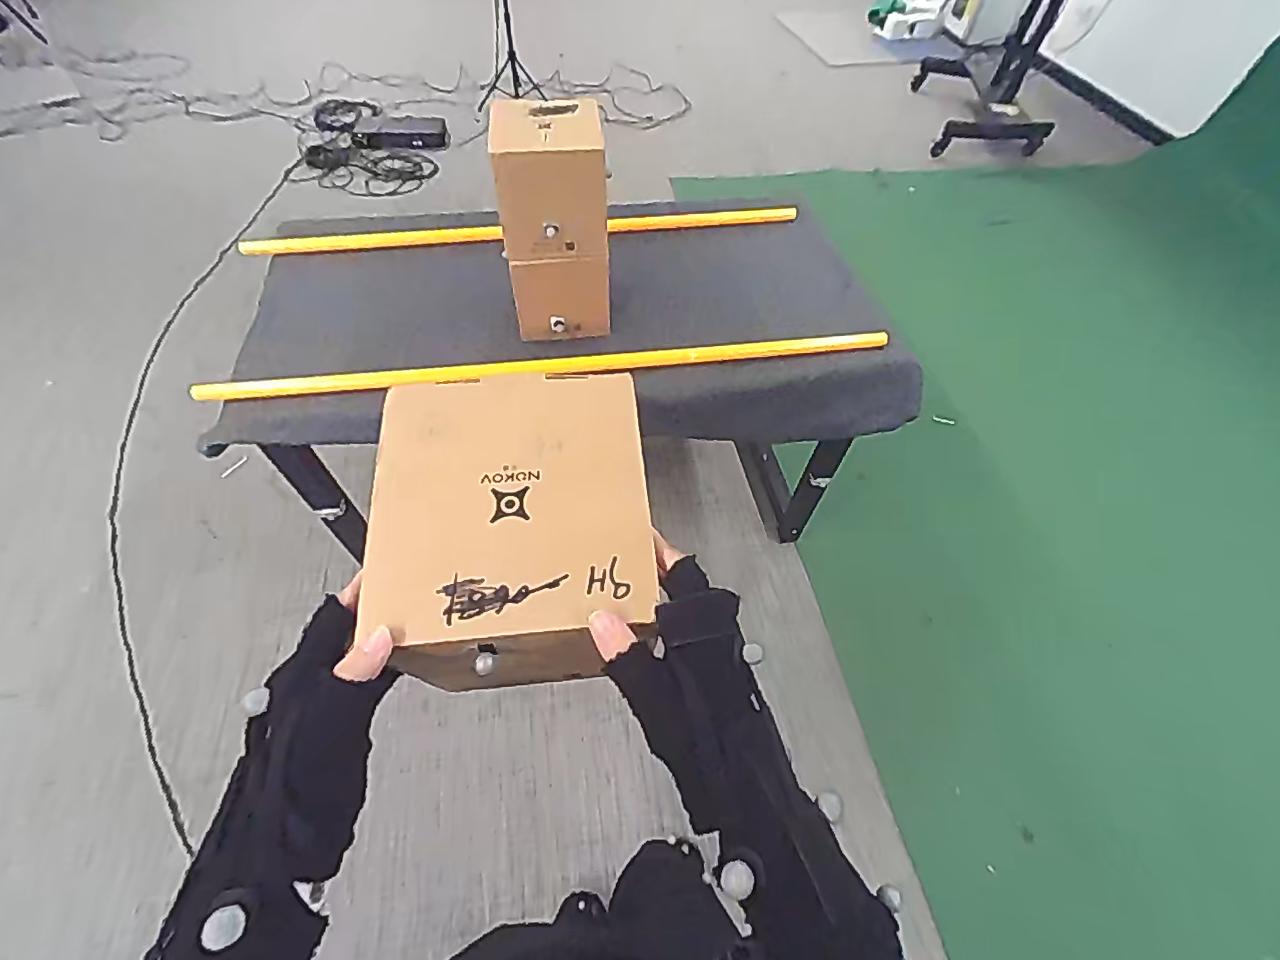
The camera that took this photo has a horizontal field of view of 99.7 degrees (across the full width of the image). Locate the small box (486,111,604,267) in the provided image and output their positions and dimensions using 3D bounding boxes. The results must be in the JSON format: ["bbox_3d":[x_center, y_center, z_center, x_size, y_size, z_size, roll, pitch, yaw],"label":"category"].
[{"bbox_3d":[-0.147,-0.468,0.876,0.168,0.176,0.179,-5,55,-5],"label":"small box"}]

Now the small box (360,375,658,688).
[{"bbox_3d":[-0.082,0.045,0.408,0.168,0.176,0.179,-5,61,-4],"label":"small box"}]

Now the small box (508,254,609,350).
[{"bbox_3d":[-0.152,-0.368,1.006,0.168,0.176,0.179,-8,56,-7],"label":"small box"}]
